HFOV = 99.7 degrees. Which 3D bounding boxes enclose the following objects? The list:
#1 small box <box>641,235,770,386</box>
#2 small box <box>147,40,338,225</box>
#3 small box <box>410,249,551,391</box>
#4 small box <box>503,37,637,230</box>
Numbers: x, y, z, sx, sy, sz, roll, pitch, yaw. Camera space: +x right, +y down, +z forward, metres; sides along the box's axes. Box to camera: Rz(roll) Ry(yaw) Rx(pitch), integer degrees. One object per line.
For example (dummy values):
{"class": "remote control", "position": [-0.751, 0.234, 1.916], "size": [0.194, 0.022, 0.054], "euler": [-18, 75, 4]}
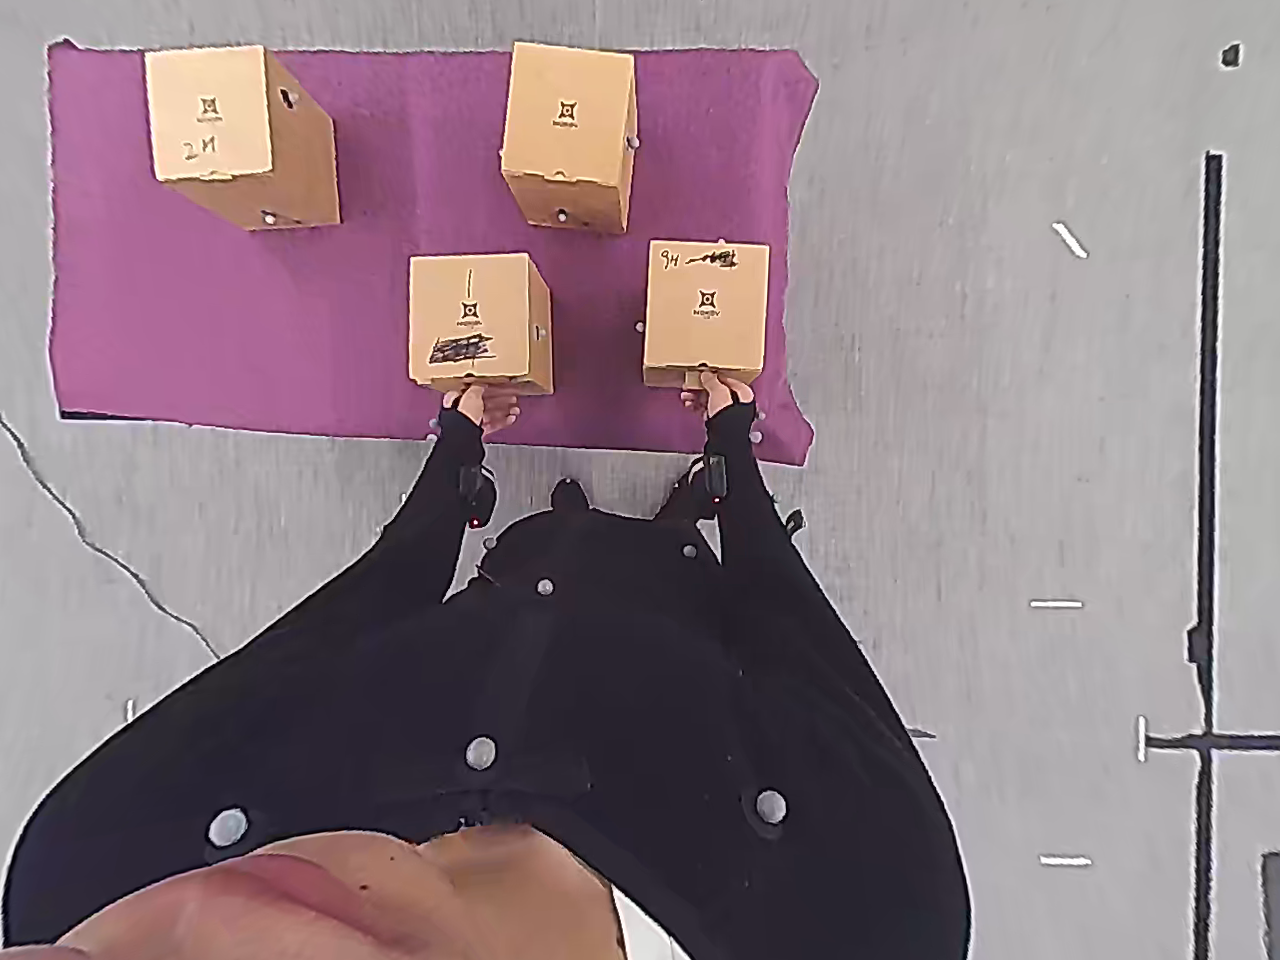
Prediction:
{"class": "small box", "position": [0.091, -0.242, 0.814], "size": [0.168, 0.176, 0.179], "euler": [4, 91, 1]}
{"class": "small box", "position": [-0.584, -0.511, 0.816], "size": [0.168, 0.176, 0.179], "euler": [-3, 92, 1]}
{"class": "small box", "position": [-0.230, -0.229, 0.819], "size": [0.168, 0.176, 0.179], "euler": [-1, 91, 1]}
{"class": "small box", "position": [-0.096, -0.506, 0.812], "size": [0.168, 0.176, 0.179], "euler": [7, 93, 1]}
